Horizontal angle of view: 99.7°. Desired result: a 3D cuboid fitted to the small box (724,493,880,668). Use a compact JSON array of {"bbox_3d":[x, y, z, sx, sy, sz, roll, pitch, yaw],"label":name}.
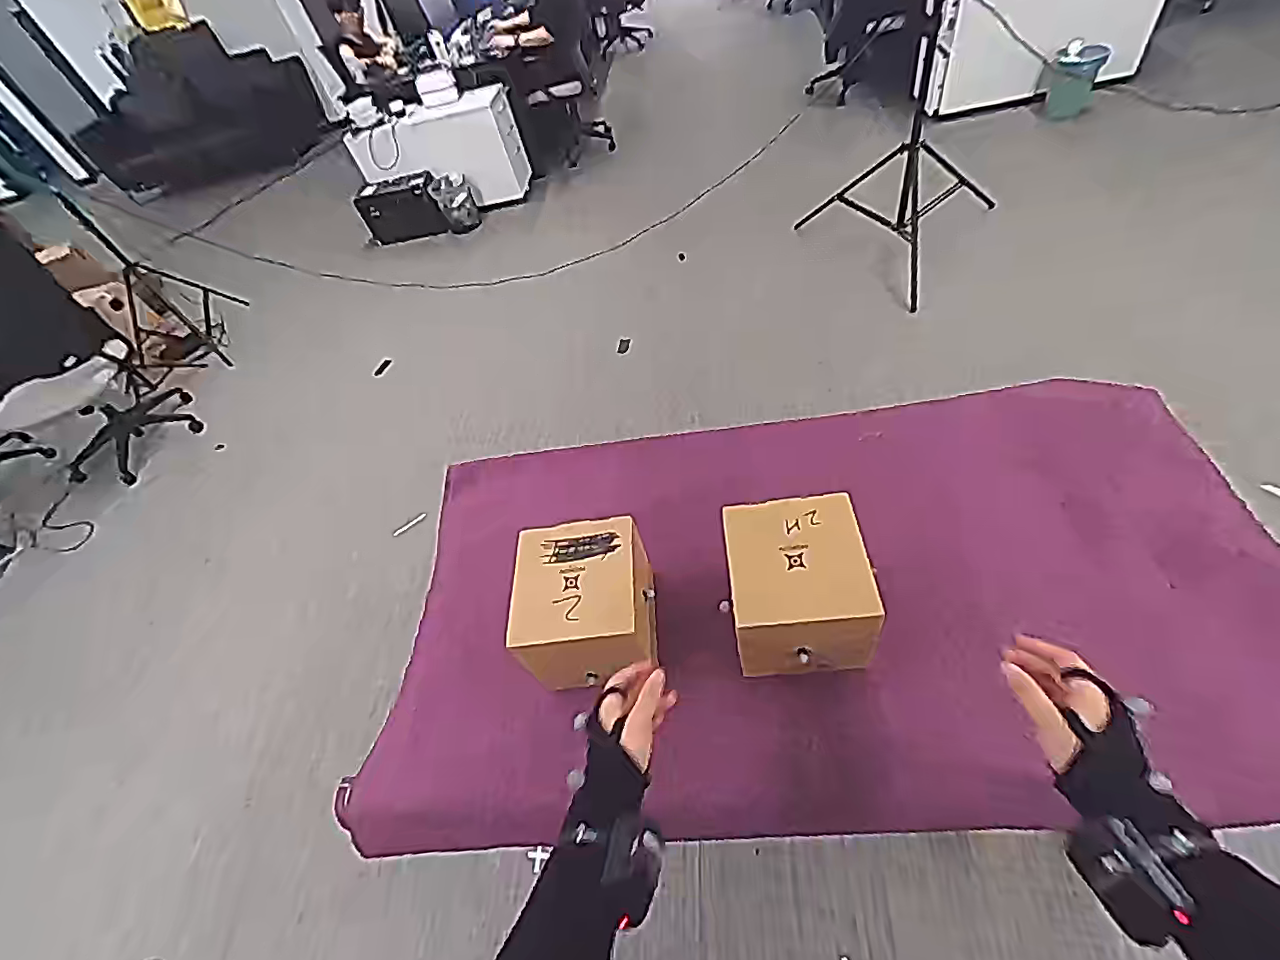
[{"bbox_3d":[0.208,0.143,0.728,0.168,0.176,0.179,-6,49,9],"label":"small box"}]
